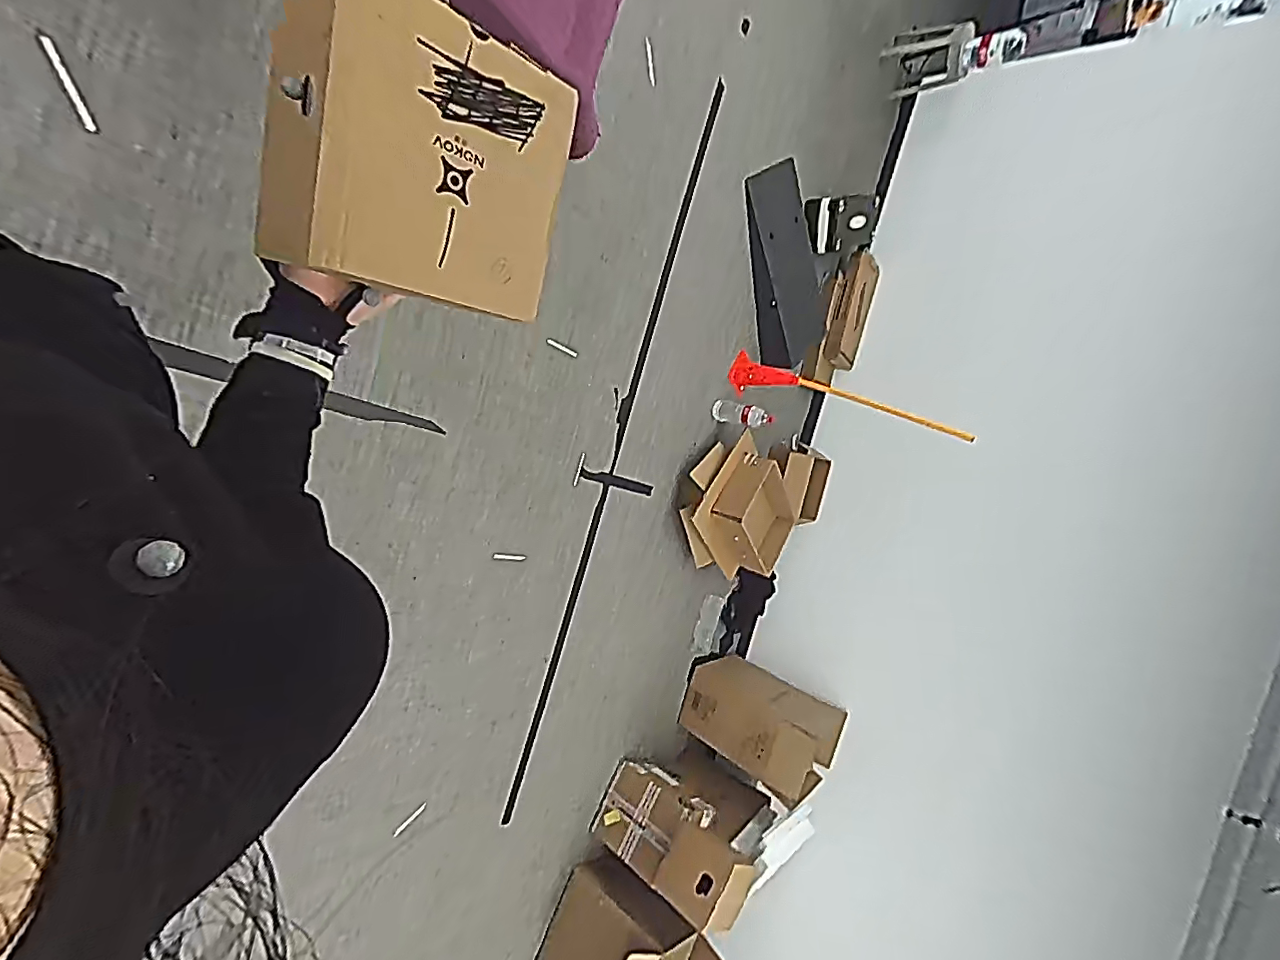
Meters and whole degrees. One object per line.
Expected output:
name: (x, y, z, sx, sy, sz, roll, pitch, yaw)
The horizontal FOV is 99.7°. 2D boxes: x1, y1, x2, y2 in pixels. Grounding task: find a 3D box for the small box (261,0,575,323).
small box: (-0.180, -0.239, 0.426, 0.168, 0.176, 0.179, 1, 108, -45)
